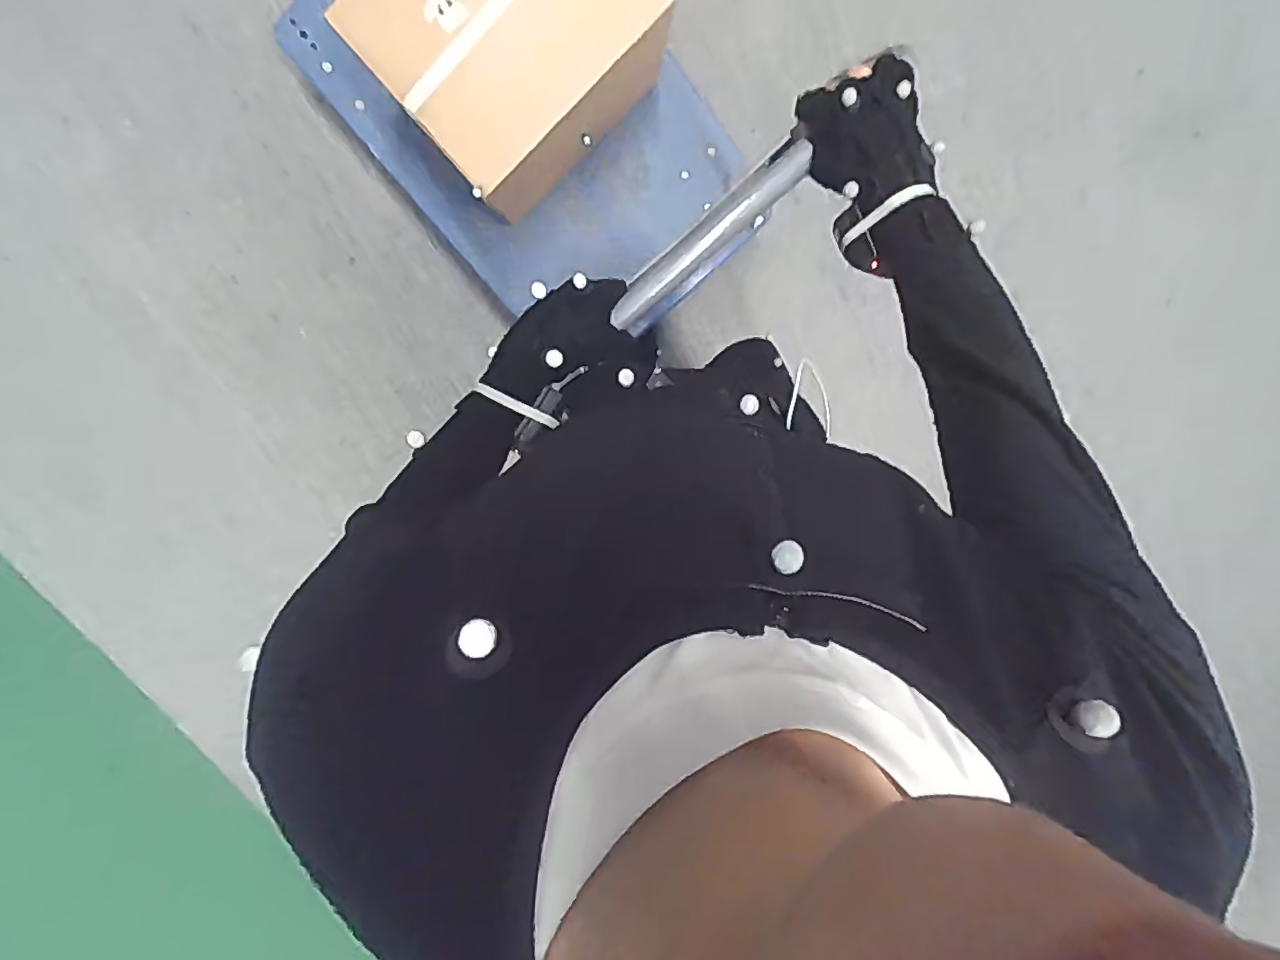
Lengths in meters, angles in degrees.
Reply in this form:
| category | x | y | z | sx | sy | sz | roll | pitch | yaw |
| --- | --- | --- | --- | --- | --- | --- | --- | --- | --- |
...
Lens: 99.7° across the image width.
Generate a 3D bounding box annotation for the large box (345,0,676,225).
| category | x | y | z | sx | sy | sz | roll | pitch | yaw |
| --- | --- | --- | --- | --- | --- | --- | --- | --- | --- |
| large box | -0.198 | -0.727 | 0.938 | 0.408 | 0.320 | 0.320 | -42 | 105 | 9 |
